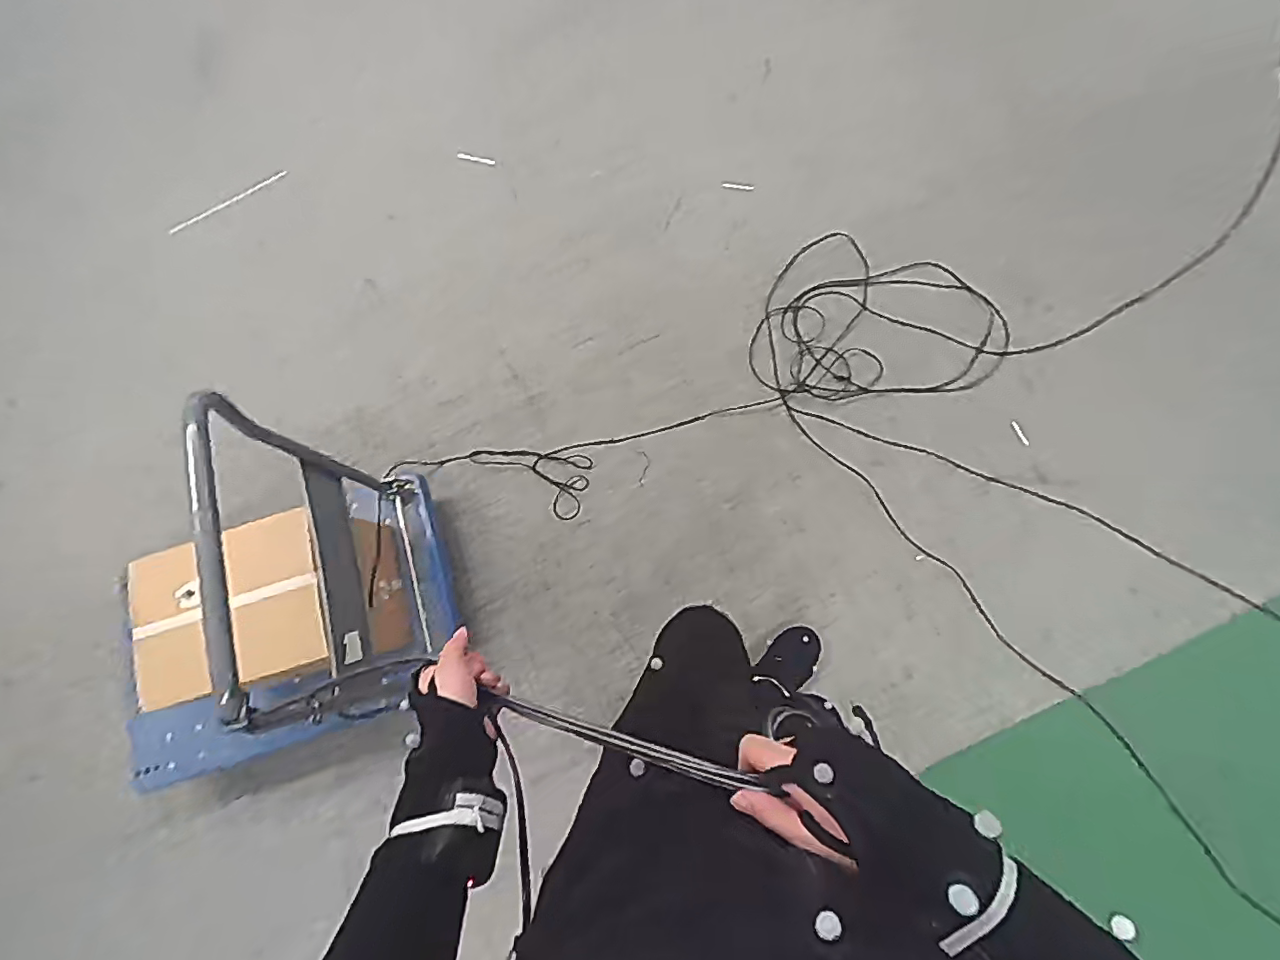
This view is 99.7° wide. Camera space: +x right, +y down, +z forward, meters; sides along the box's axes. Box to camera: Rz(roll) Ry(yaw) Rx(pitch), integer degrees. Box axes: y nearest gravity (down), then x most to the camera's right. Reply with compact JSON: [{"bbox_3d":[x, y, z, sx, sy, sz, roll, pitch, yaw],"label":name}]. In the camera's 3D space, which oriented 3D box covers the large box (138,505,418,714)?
[{"bbox_3d":[-0.786,0.279,1.217,0.408,0.320,0.320,-18,76,3],"label":"large box"}]
